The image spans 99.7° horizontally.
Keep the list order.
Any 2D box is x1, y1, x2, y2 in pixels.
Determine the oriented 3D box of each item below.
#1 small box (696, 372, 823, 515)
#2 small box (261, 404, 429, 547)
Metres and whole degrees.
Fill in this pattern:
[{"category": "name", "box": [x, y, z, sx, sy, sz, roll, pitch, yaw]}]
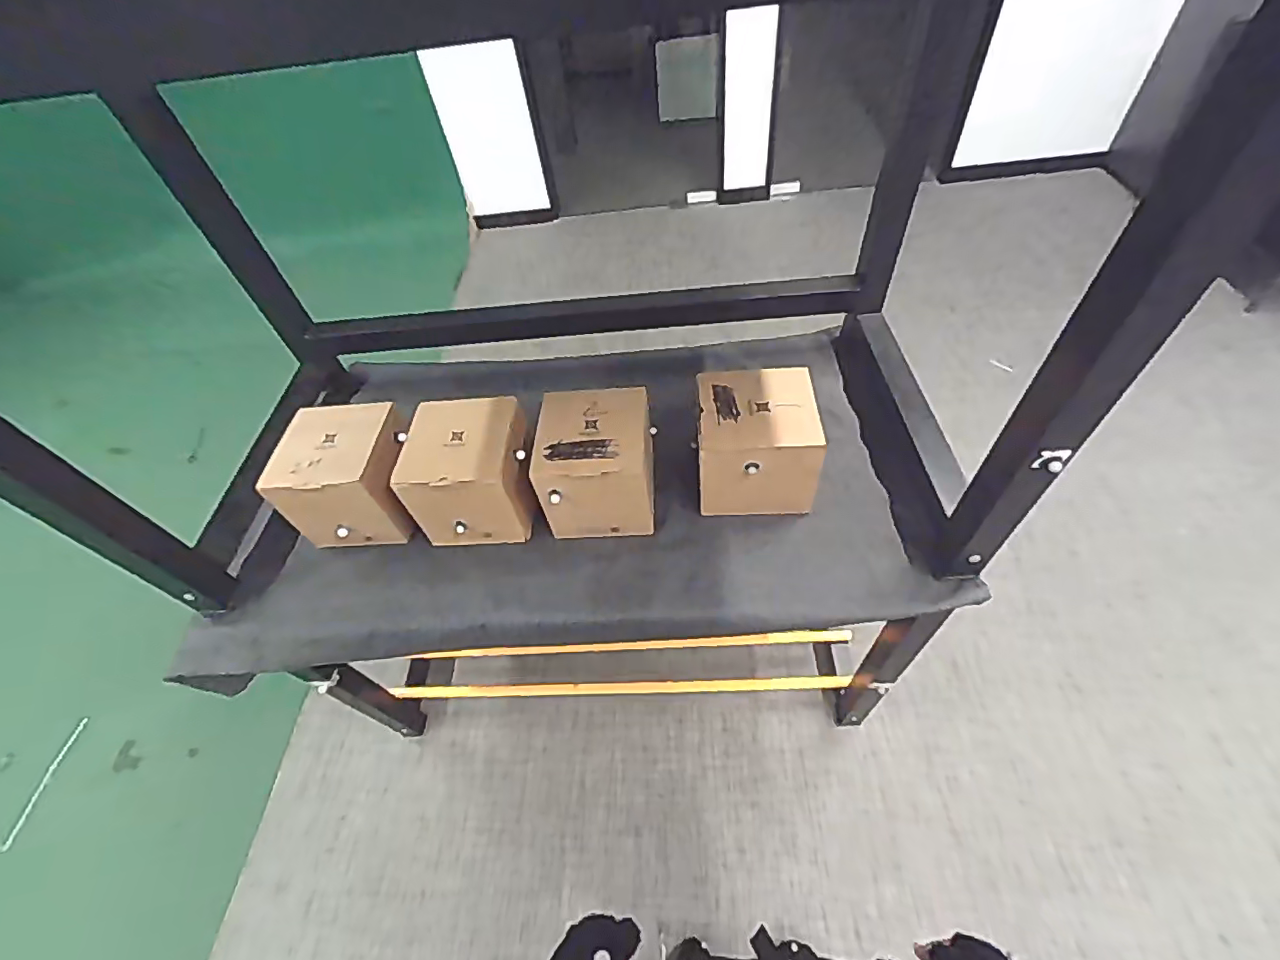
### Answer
[{"category": "small box", "box": [0.181, -0.054, 0.870, 0.179, 0.176, 0.168, -1, 52, 5]}, {"category": "small box", "box": [-0.479, -0.005, 0.914, 0.168, 0.176, 0.179, -4, 51, 5]}]
